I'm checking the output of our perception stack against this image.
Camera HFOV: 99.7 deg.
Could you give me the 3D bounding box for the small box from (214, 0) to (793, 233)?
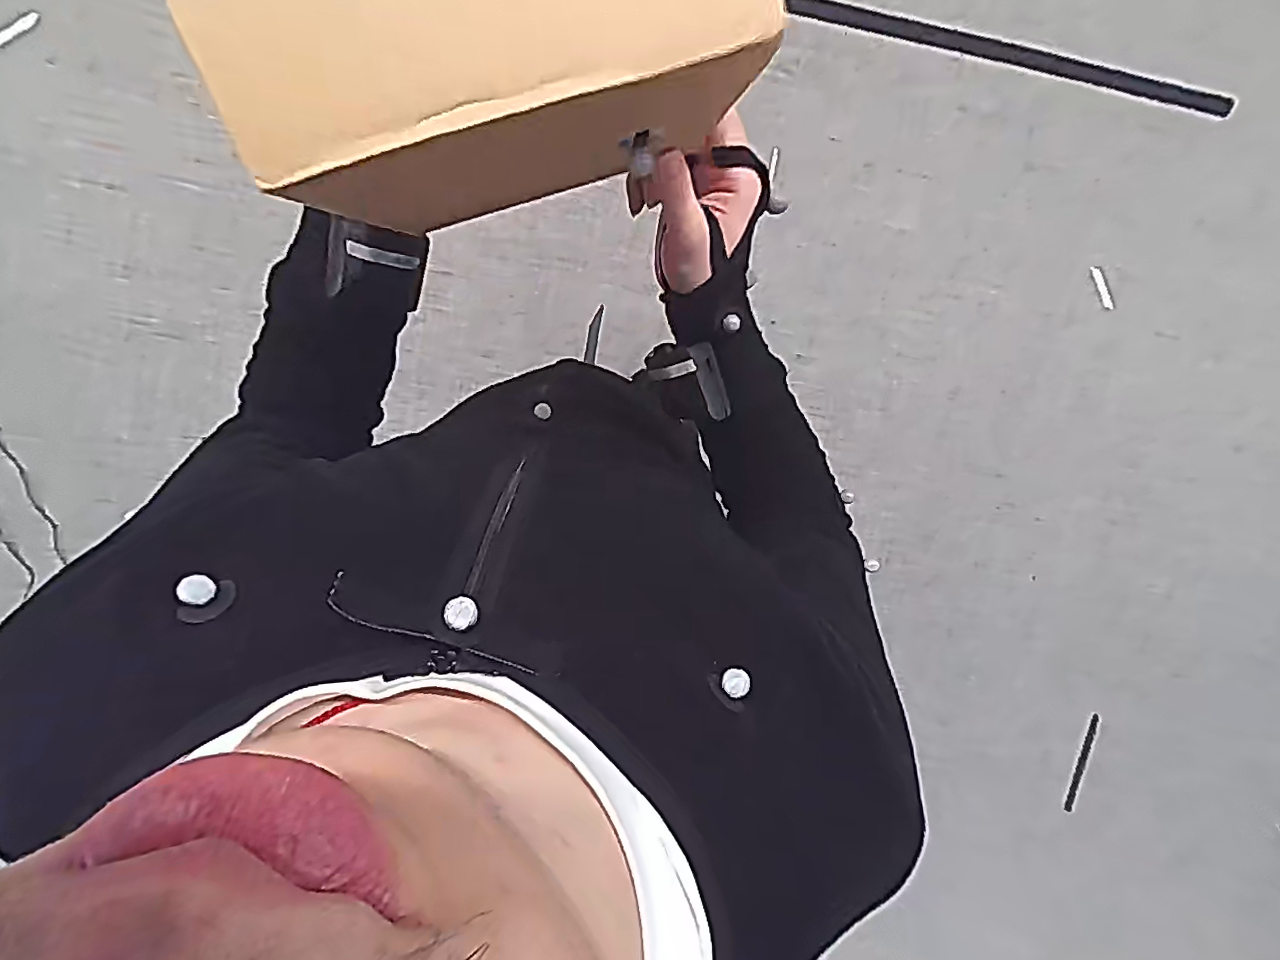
[{"bbox_3d":[-0.061,-0.219,0.227,0.179,0.176,0.168,-18,110,1],"label":"small box"}]
